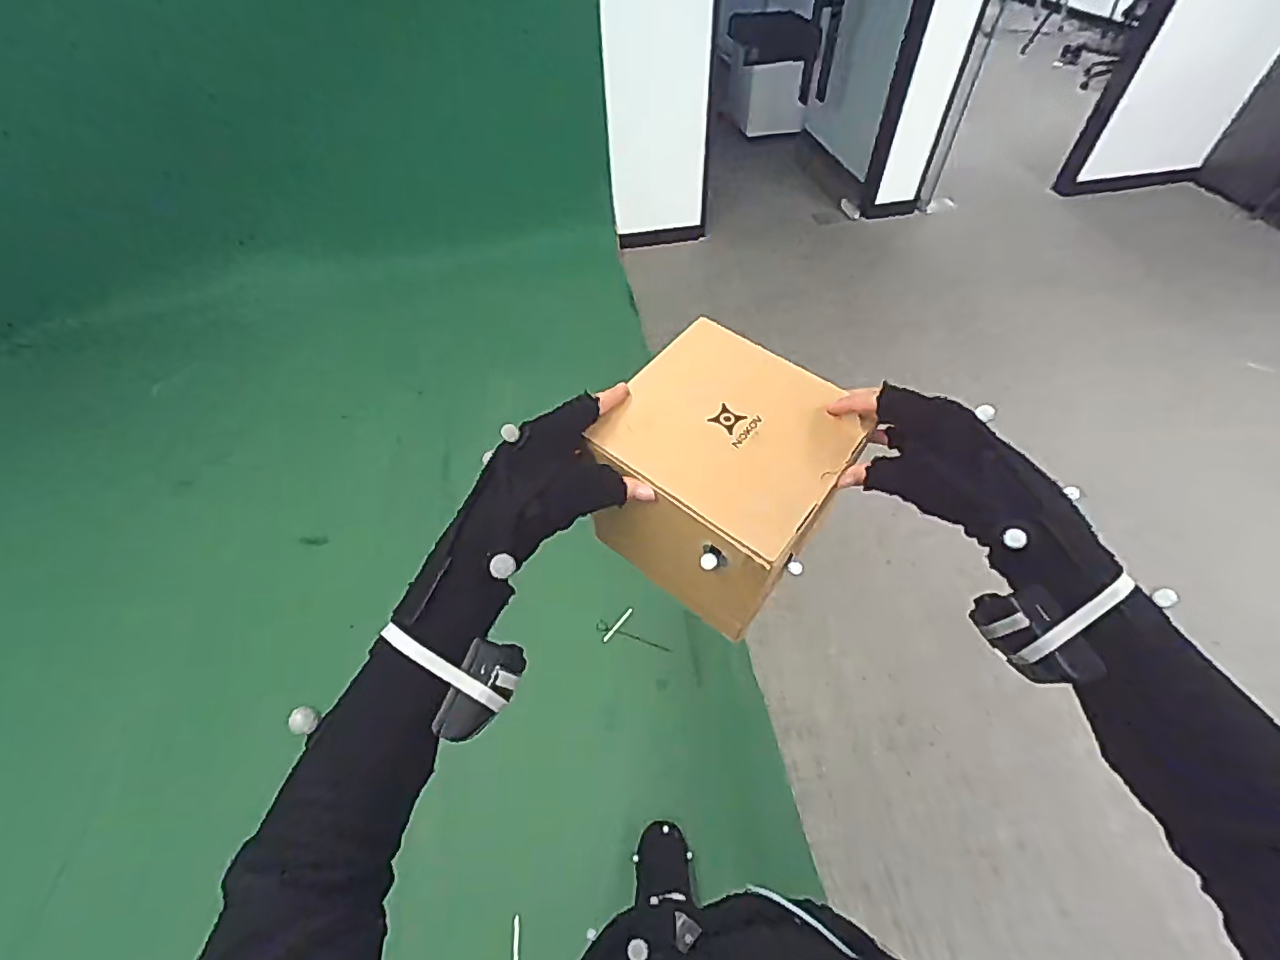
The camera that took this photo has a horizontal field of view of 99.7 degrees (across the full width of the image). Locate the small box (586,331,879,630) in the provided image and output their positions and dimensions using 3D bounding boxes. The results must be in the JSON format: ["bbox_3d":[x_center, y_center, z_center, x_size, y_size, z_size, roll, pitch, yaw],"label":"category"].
[{"bbox_3d":[0.071,0.006,0.489,0.179,0.176,0.168,35,63,20],"label":"small box"}]
